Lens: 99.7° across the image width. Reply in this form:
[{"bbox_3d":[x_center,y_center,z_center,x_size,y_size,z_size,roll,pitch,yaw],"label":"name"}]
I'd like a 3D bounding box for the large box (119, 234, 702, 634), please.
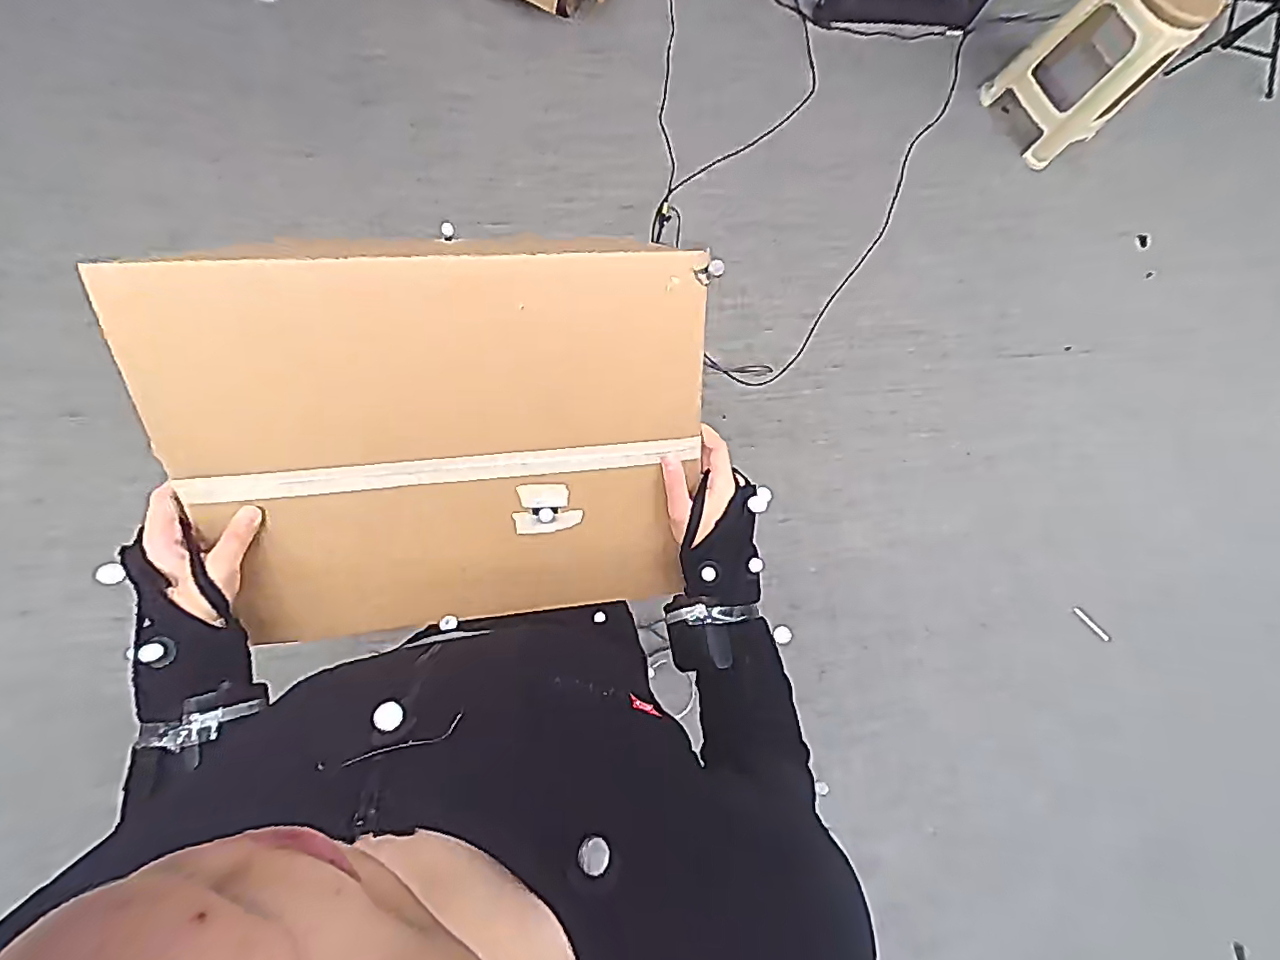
[{"bbox_3d":[-0.175,-0.085,0.579,0.408,0.320,0.320,-6,119,-10],"label":"large box"}]
